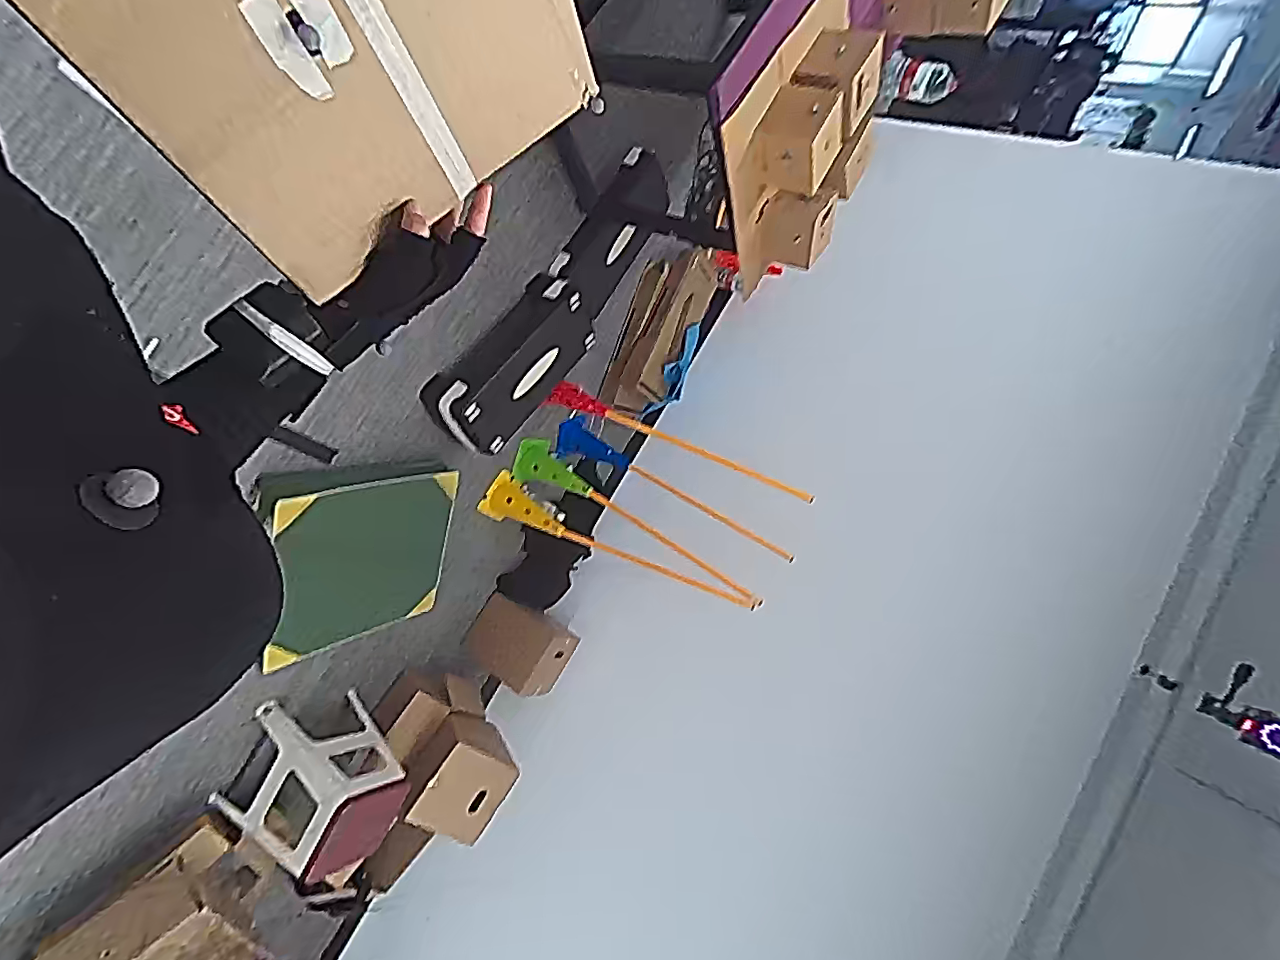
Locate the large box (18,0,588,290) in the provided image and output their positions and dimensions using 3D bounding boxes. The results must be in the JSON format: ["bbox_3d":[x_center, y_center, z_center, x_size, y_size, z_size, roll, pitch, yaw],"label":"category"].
[{"bbox_3d":[-0.301,-0.430,0.373,0.320,0.320,0.408,-43,150,-10],"label":"large box"}]
